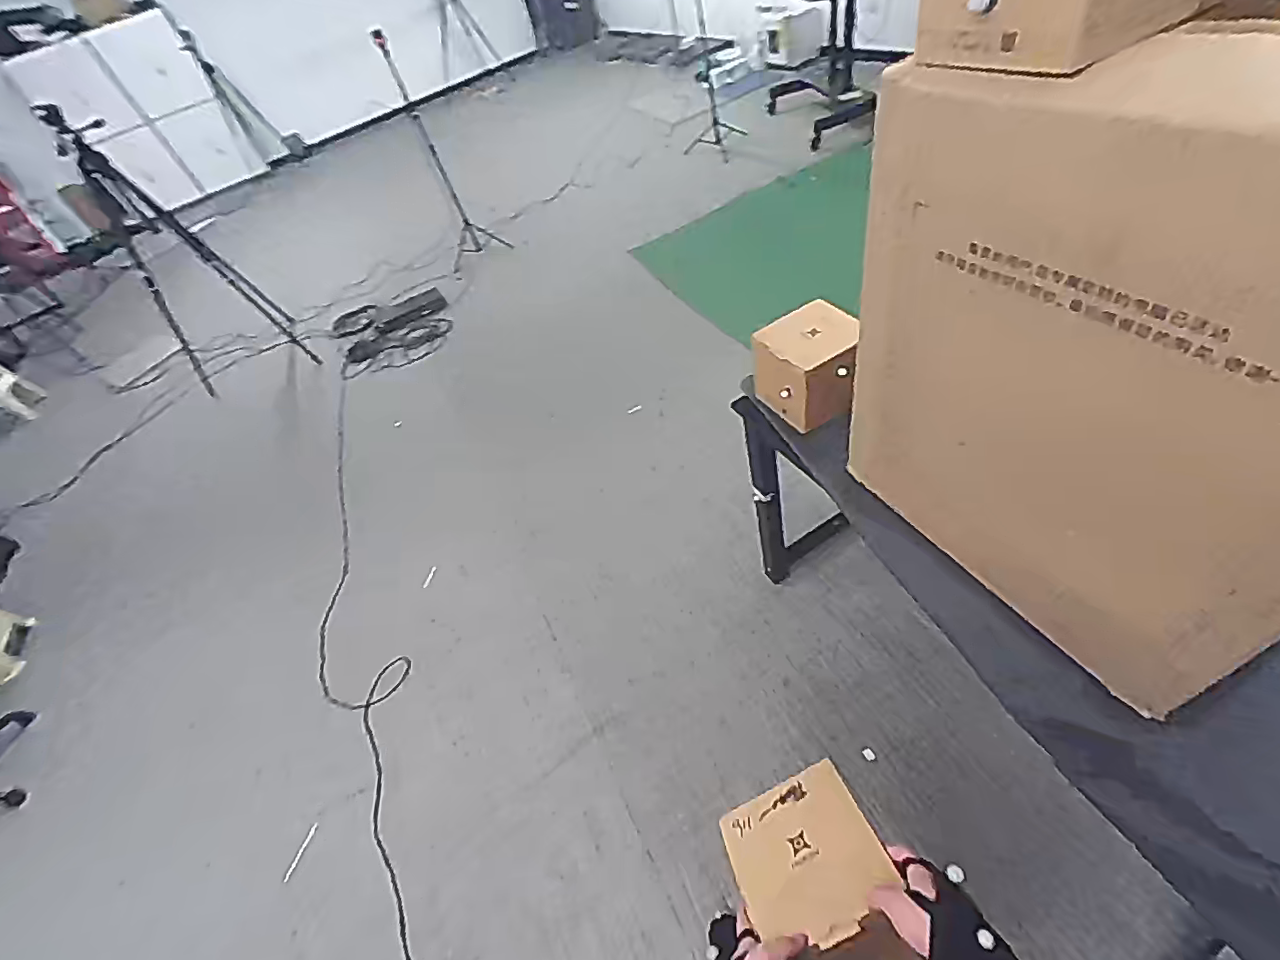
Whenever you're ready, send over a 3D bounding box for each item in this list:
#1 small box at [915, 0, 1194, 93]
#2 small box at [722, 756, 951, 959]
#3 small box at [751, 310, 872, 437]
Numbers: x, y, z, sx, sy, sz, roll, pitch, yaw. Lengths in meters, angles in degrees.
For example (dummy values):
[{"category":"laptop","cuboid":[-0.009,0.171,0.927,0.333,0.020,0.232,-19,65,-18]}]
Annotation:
[{"category":"small box","cuboid":[0.368,-0.468,0.467,0.179,0.176,0.168,-29,45,-8]},{"category":"small box","cuboid":[0.225,0.482,0.638,0.168,0.176,0.179,-30,18,1]},{"category":"small box","cuboid":[0.355,-0.219,1.132,0.179,0.176,0.168,-29,49,-12]}]
